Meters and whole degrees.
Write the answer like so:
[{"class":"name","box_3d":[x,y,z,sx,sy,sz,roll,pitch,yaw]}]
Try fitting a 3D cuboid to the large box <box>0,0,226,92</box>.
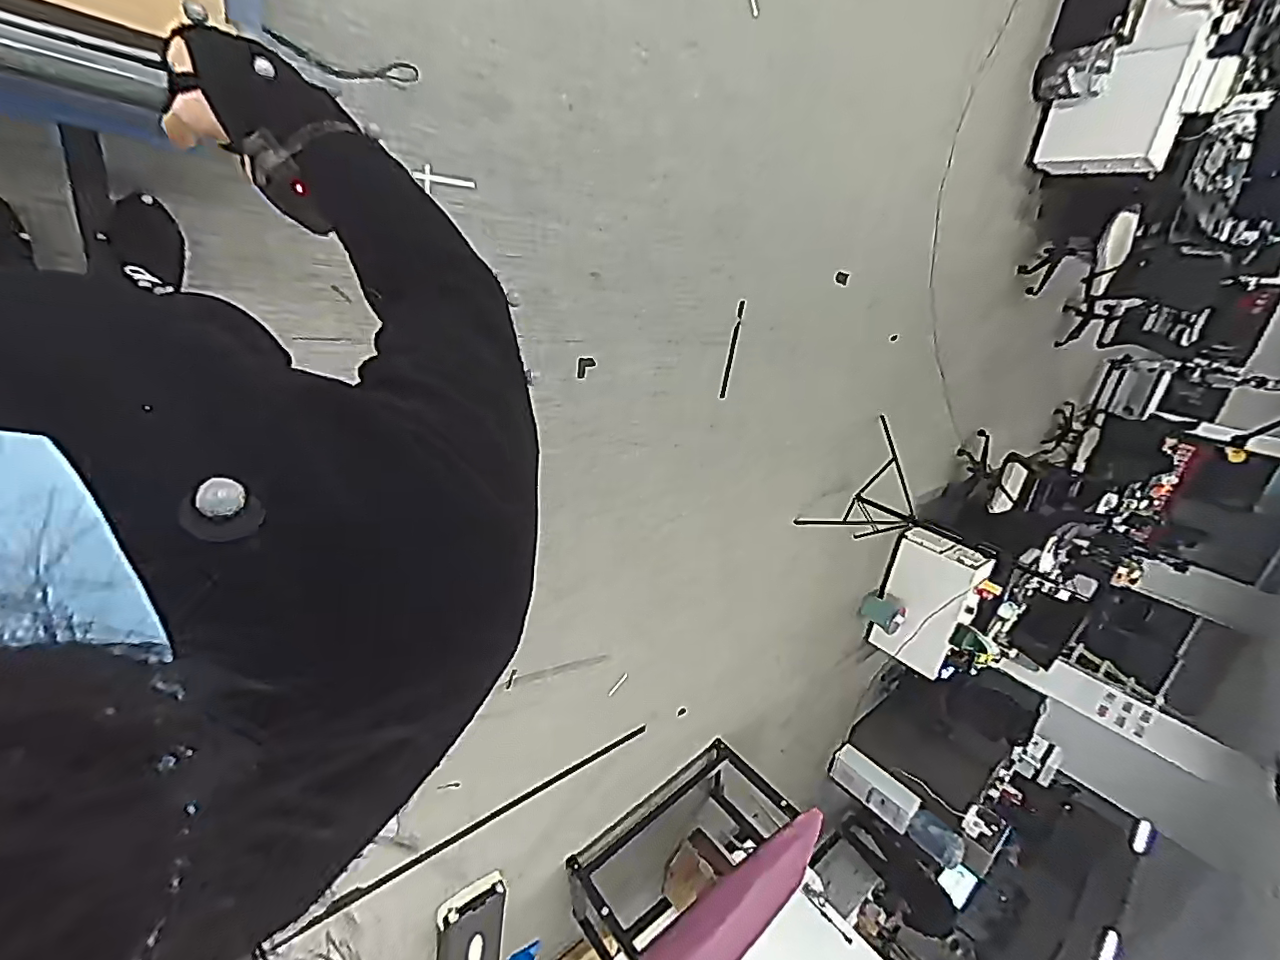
[{"class":"large box","box_3d":[-0.755,-0.701,0.612,0.408,0.320,0.320,-9,118,-41]}]
